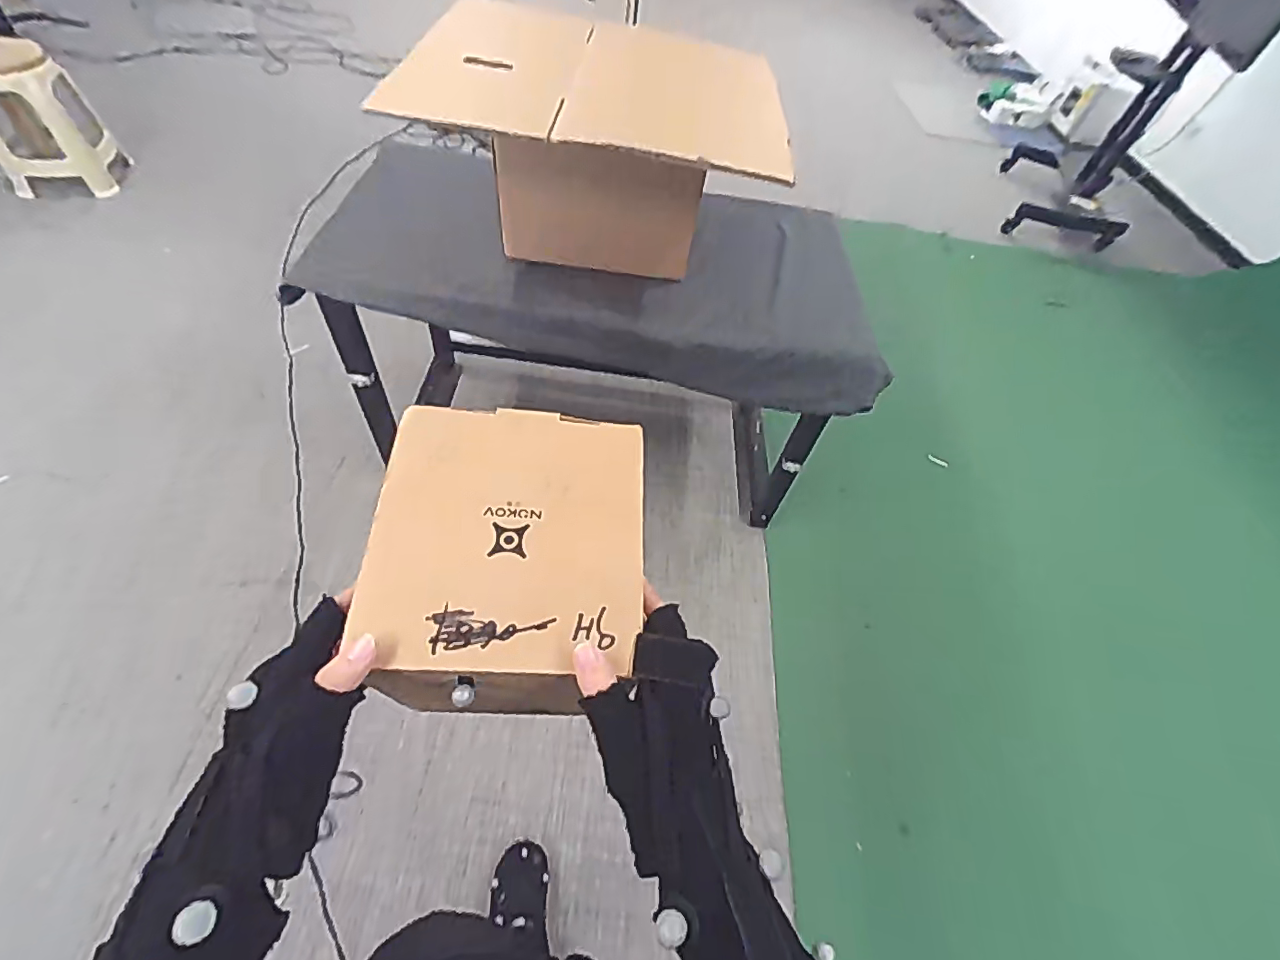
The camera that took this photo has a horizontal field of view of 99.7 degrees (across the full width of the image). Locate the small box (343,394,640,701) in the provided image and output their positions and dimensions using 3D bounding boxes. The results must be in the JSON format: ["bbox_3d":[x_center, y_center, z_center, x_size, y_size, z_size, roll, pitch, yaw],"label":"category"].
[{"bbox_3d":[-0.093,0.060,0.413,0.168,0.176,0.179,4,59,-6],"label":"small box"}]
